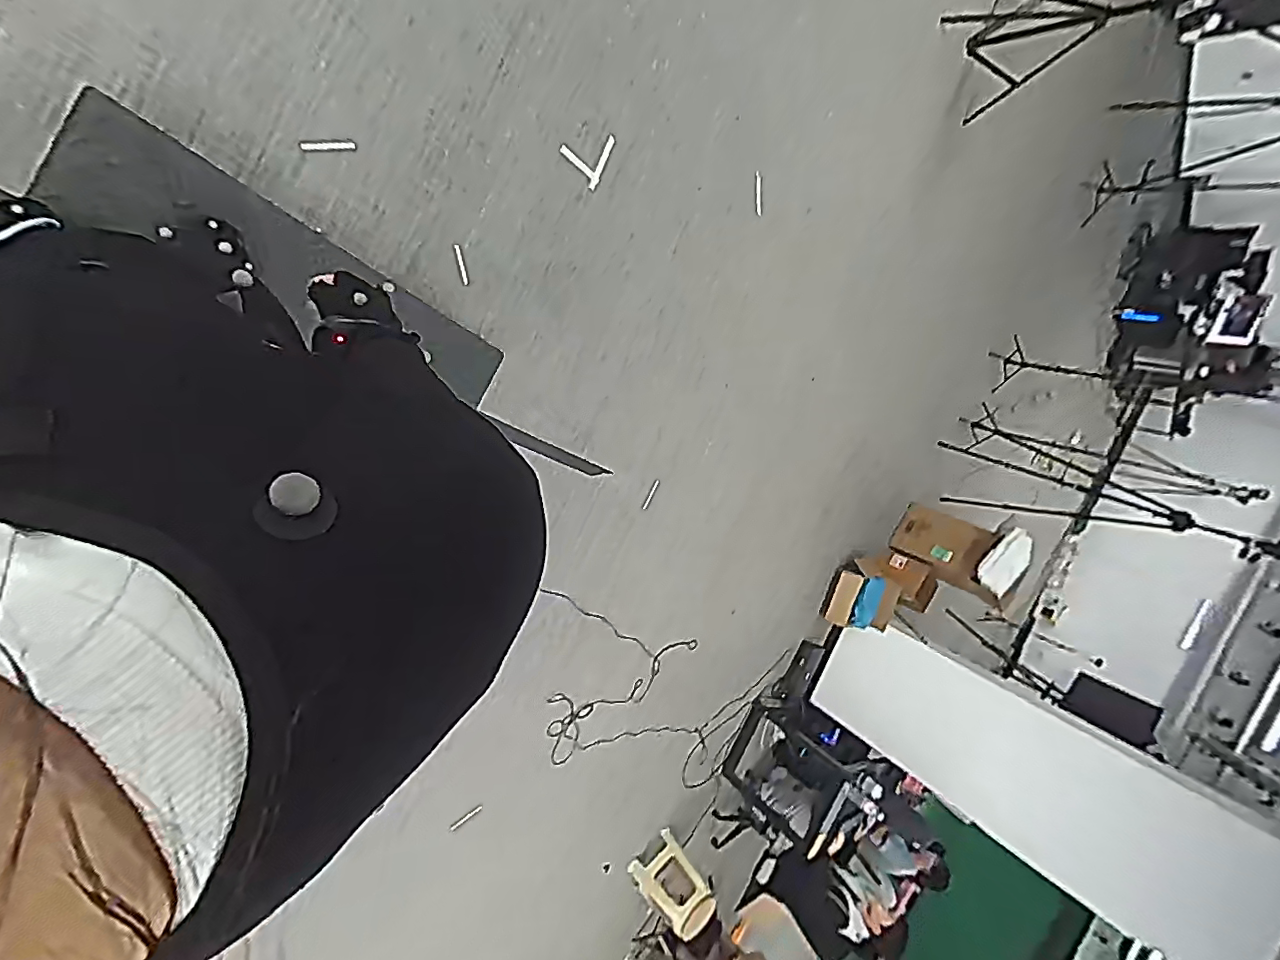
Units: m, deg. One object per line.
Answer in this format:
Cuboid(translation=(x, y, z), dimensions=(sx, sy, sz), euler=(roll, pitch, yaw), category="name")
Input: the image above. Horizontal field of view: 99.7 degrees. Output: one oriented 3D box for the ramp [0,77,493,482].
Cuboid(translation=(-0.813, -0.333, 1.303), dimensions=(0.991, 0.206, 0.509), euler=(25, 91, -47), category="ramp")
